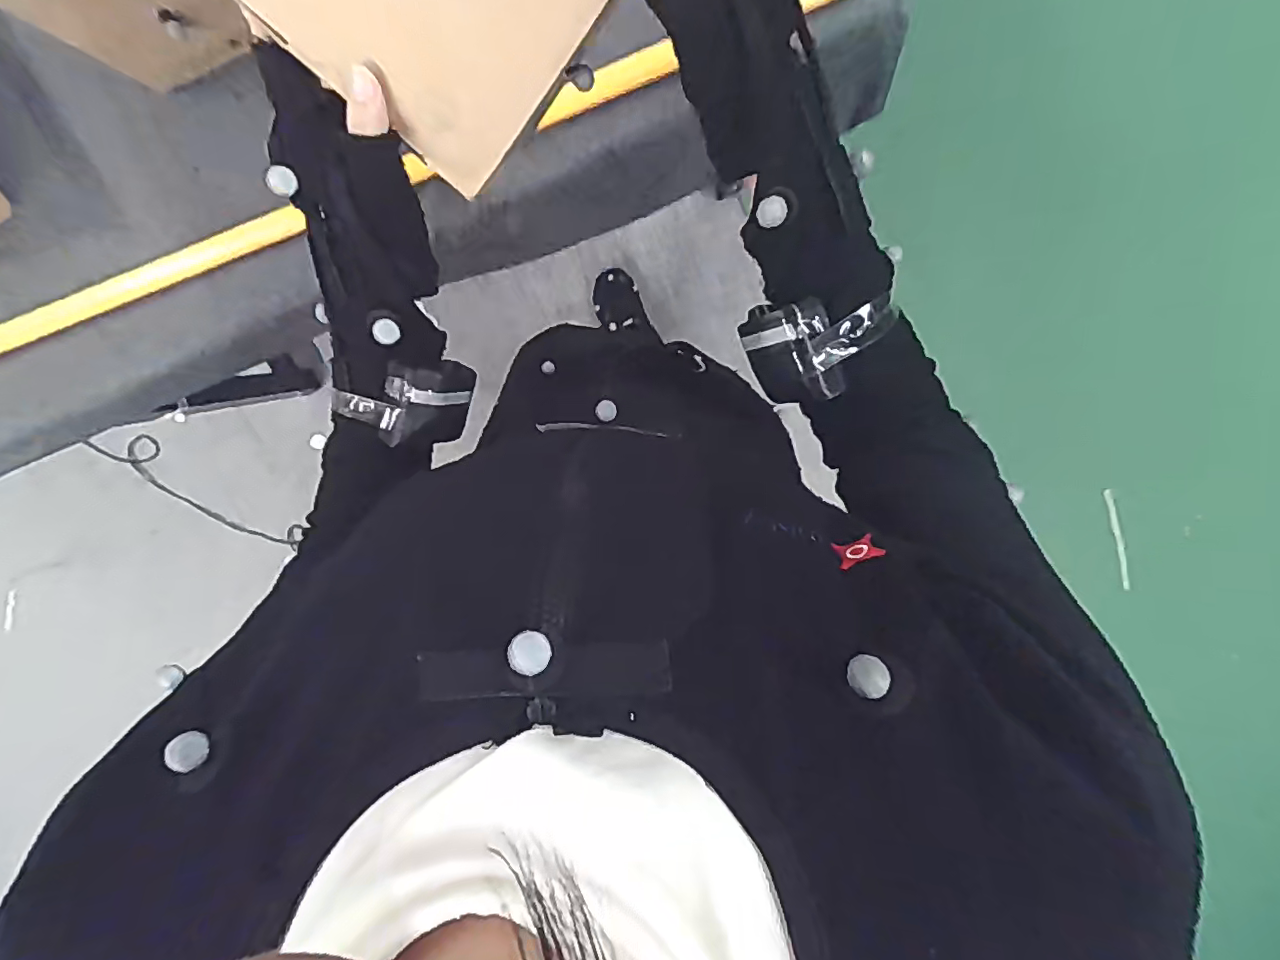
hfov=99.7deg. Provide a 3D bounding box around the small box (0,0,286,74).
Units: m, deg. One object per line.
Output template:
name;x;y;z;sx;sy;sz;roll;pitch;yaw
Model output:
small box;-0.460;-0.496;0.465;0.168;0.176;0.179;-24;103;7
